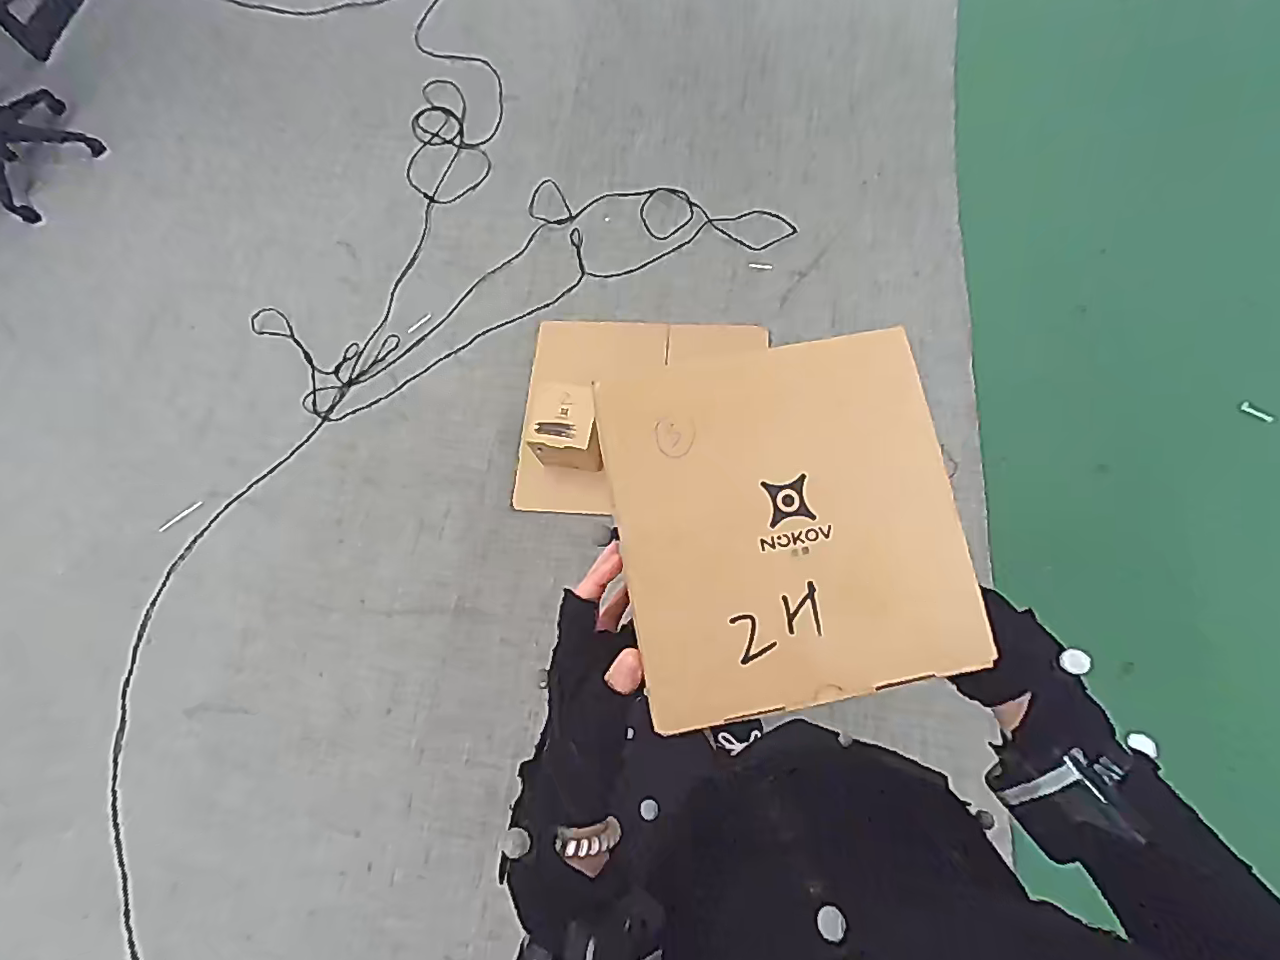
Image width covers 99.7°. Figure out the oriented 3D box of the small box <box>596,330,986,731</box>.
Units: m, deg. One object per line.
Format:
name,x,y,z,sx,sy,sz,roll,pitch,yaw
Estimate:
small box,0.067,0.031,0.343,0.168,0.176,0.179,-10,82,-3
